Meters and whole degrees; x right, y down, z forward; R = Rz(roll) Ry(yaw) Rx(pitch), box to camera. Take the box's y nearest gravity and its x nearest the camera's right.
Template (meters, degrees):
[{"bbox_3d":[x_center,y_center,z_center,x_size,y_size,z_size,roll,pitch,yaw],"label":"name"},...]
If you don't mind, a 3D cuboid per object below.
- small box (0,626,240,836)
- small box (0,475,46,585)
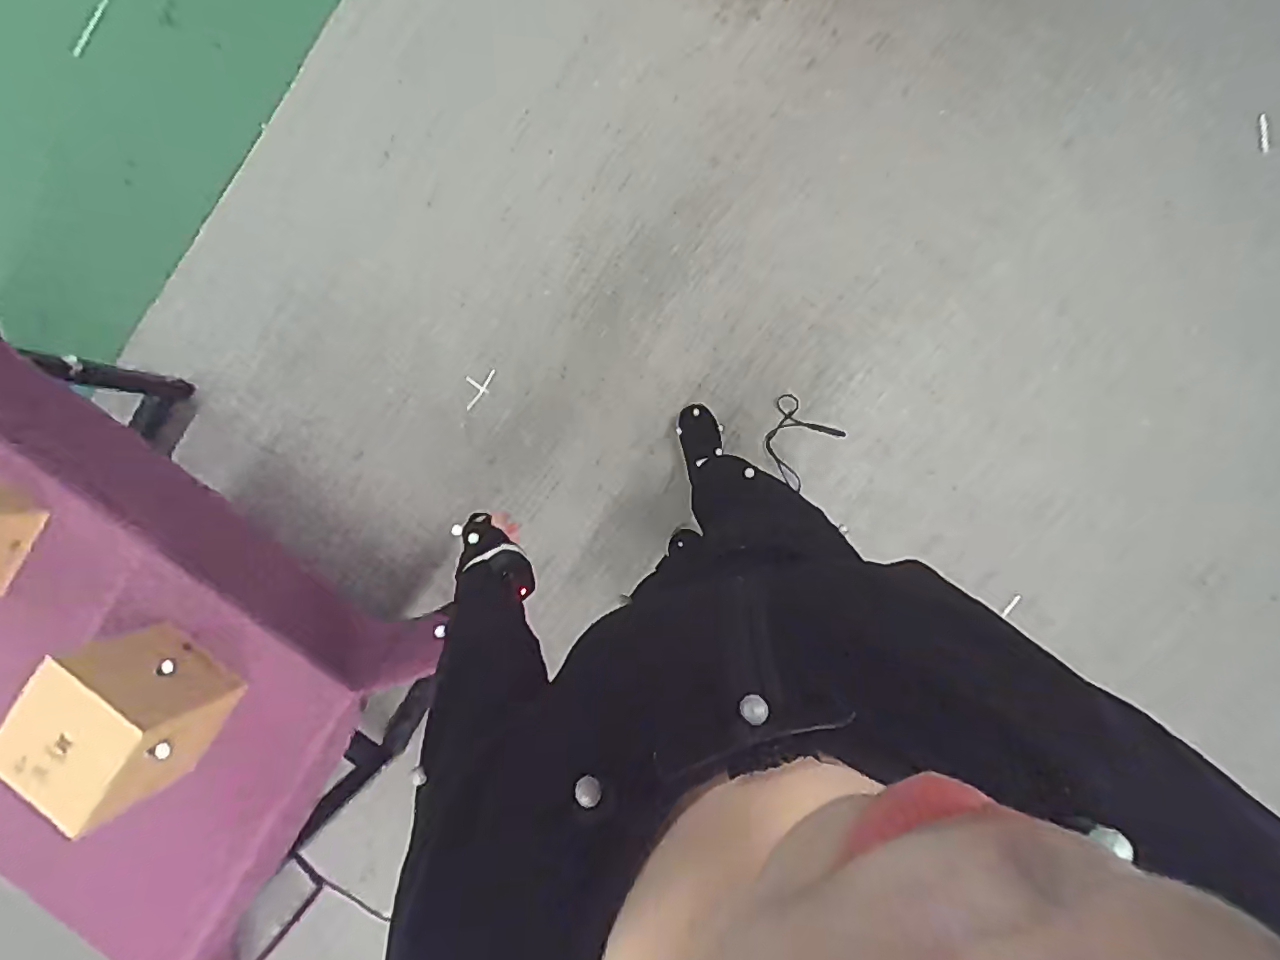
[{"bbox_3d":[-0.723,0.336,0.767,0.168,0.176,0.179,35,94,4],"label":"small box"},{"bbox_3d":[-1.060,0.074,0.795,0.179,0.176,0.168,34,94,4],"label":"small box"}]
